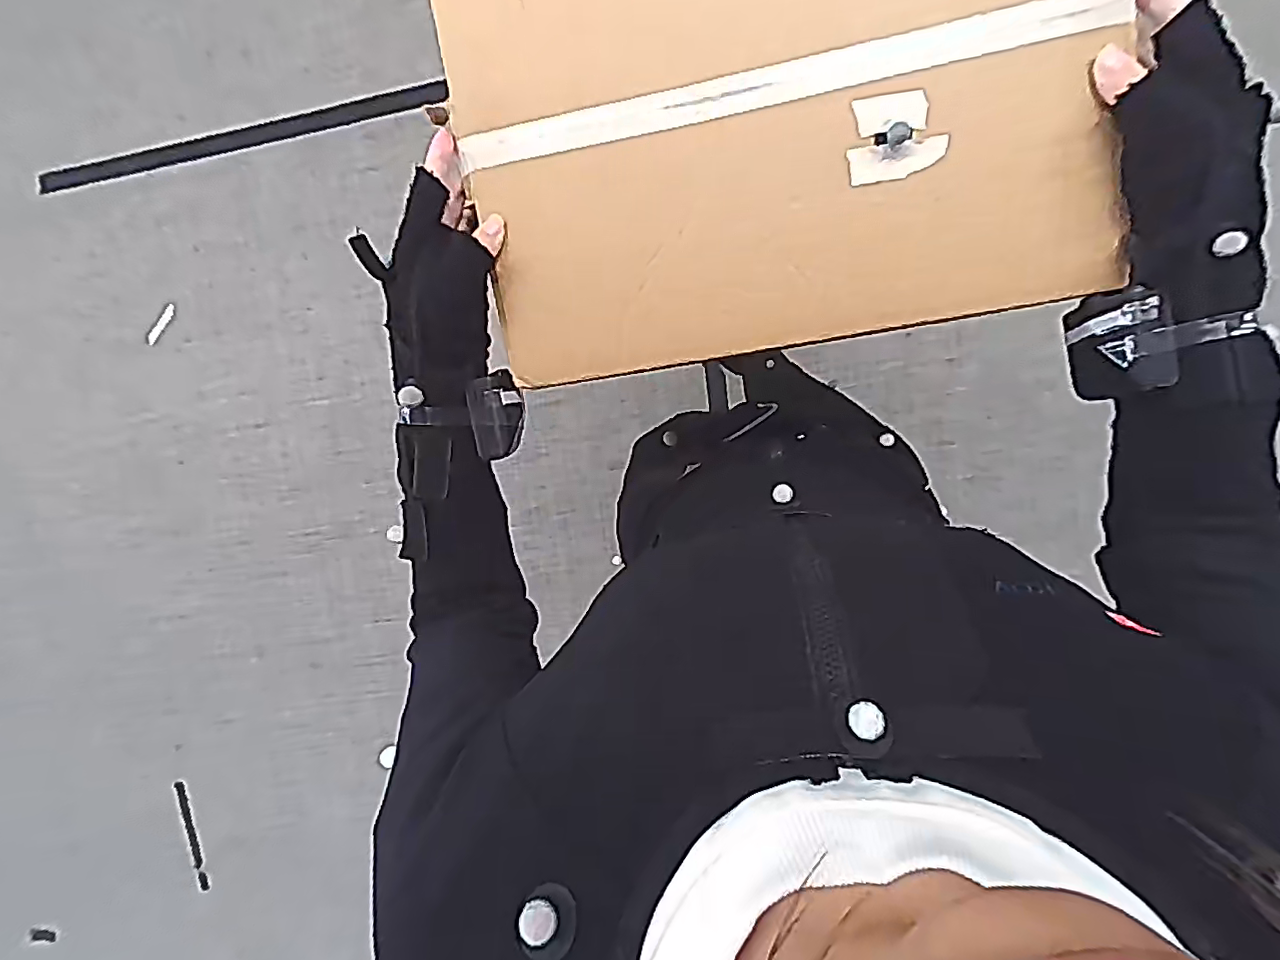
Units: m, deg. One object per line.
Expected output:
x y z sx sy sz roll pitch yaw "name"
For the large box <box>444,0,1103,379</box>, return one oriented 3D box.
0.093 -0.285 0.493 0.408 0.320 0.320 -9 102 6 "large box"
